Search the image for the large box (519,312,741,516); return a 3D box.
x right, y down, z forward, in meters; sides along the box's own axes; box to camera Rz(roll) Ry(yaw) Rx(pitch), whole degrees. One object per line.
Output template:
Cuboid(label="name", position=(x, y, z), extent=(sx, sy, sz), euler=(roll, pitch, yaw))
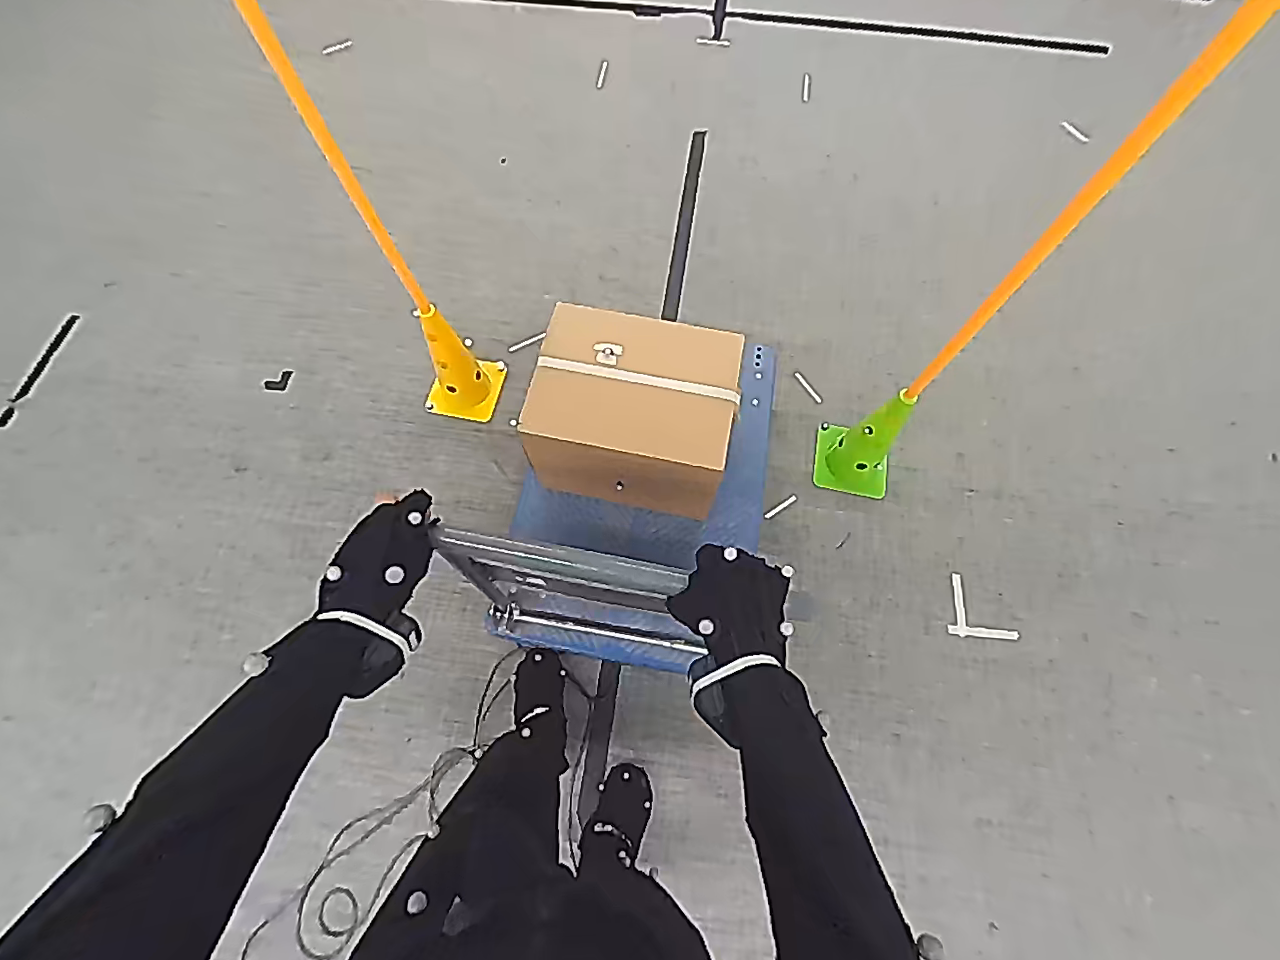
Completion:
Cuboid(label="large box", position=(-0.008, -0.133, 1.226), extent=(0.408, 0.320, 0.320), euler=(11, 69, 5))

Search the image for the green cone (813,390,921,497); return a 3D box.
Cuboid(label="green cone", position=(0.601, -0.119, 1.377), extent=(0.202, 0.368, 0.200), euler=(12, 69, 3))
